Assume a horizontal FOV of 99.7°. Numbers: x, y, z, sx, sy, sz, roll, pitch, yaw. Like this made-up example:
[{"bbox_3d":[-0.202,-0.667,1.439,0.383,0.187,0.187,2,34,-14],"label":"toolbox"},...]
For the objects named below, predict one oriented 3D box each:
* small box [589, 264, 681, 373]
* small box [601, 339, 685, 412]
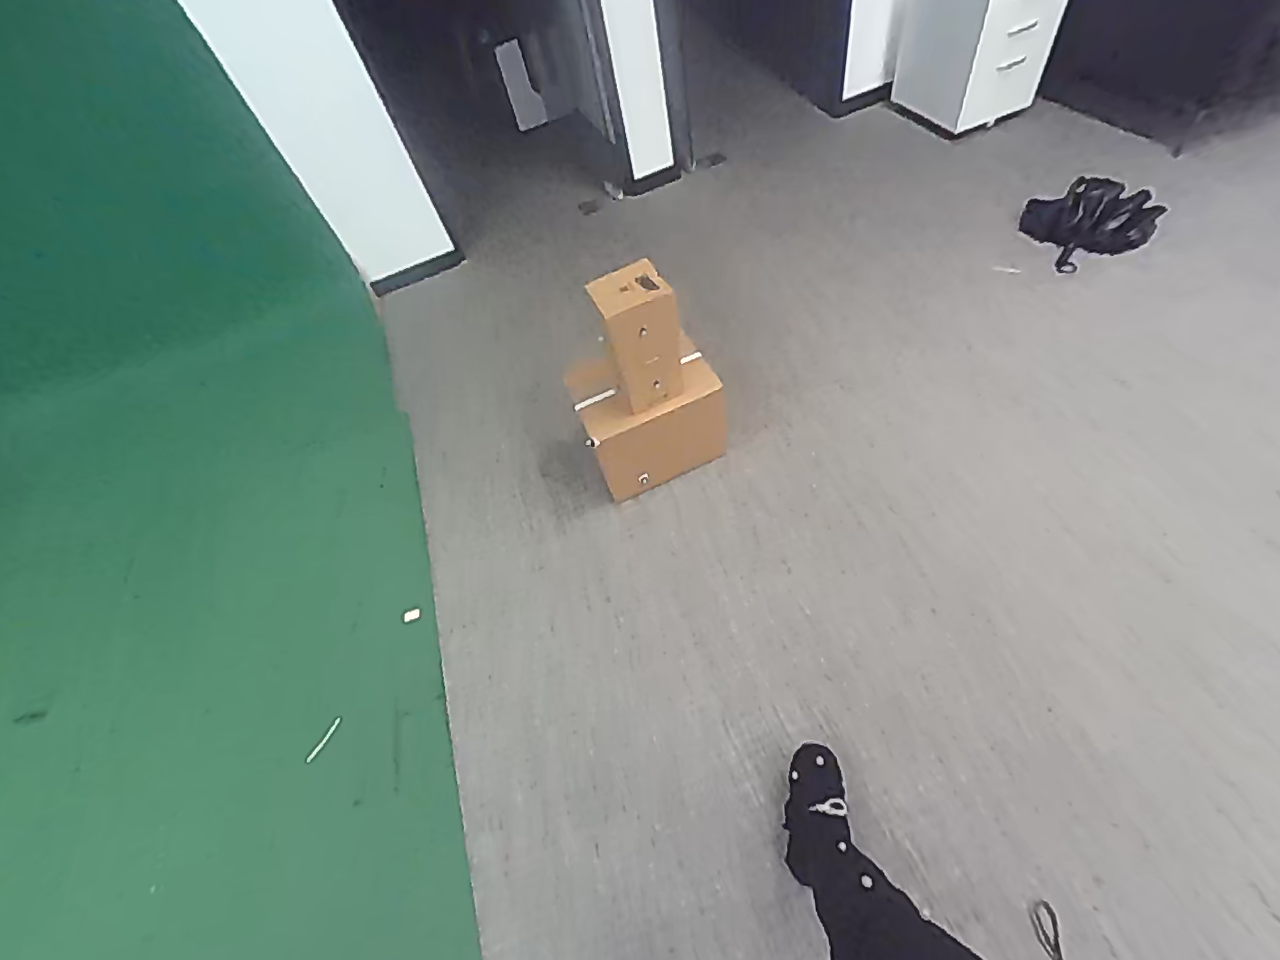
[{"bbox_3d":[-0.006,-0.405,1.365,0.179,0.176,0.168,-26,54,-7],"label":"small box"},{"bbox_3d":[0.013,-0.311,1.500,0.168,0.176,0.179,-25,54,-6],"label":"small box"}]
